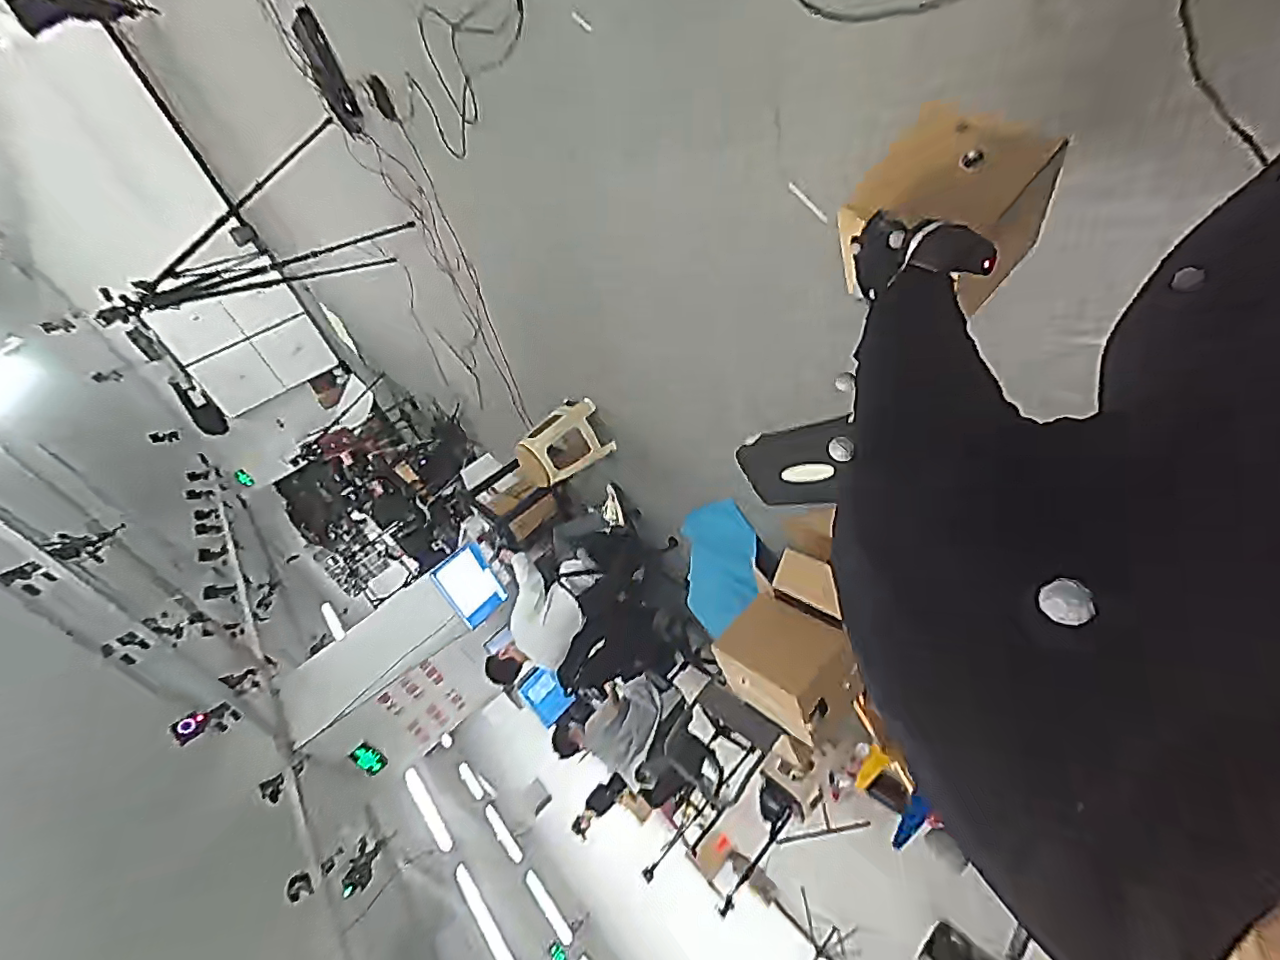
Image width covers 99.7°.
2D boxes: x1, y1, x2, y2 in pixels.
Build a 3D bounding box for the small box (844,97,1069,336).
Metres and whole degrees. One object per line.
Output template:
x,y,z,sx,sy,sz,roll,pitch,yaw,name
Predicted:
0.385,-0.321,0.675,0.168,0.176,0.179,42,-175,31,small box
